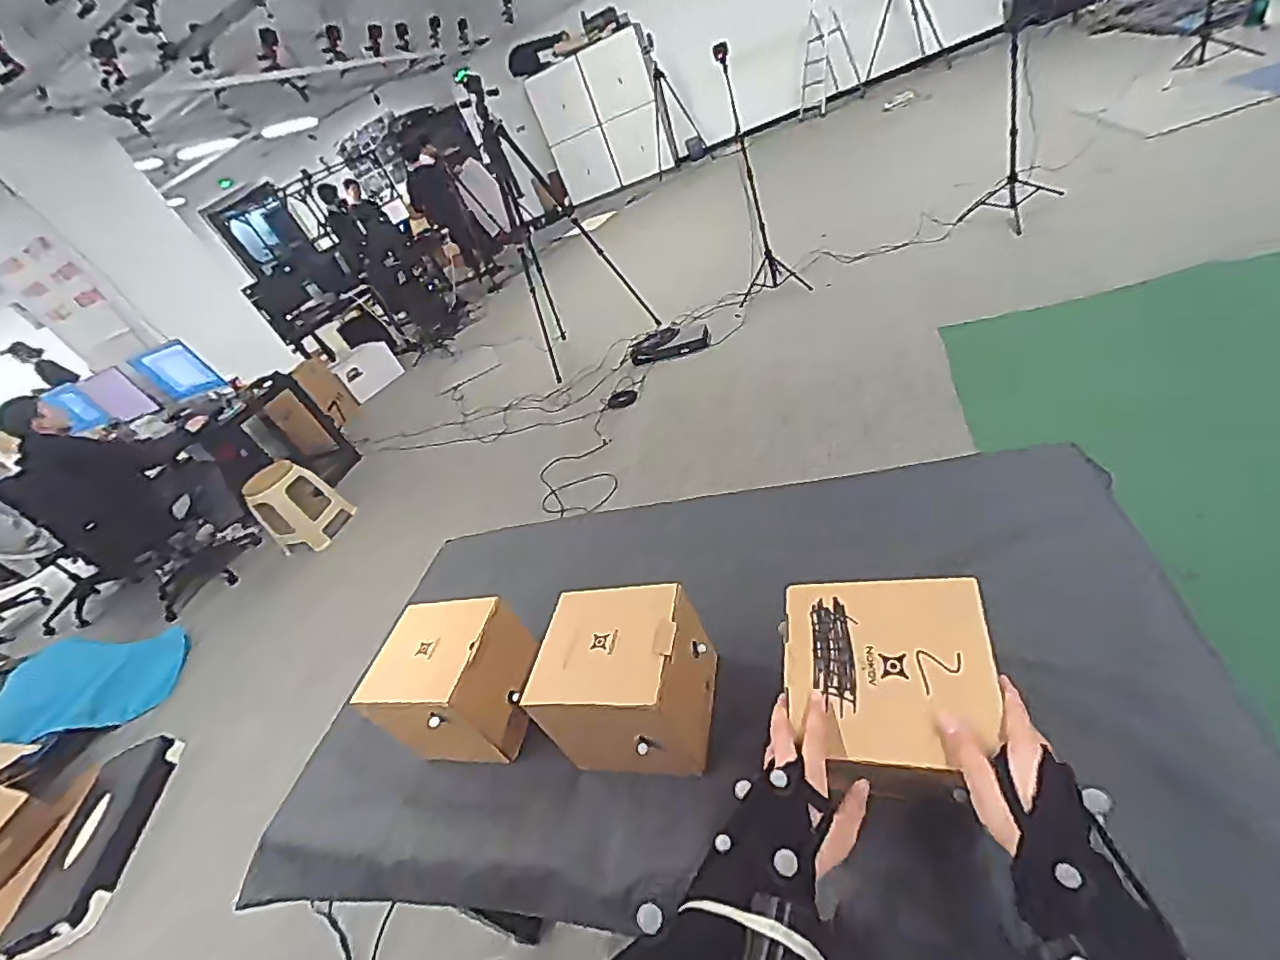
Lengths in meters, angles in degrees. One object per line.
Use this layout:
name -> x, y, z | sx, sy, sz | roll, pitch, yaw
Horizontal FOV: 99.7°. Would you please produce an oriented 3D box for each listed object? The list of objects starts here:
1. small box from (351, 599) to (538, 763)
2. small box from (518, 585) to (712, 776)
small box -> -0.272, 0.300, 0.805 | 0.179, 0.176, 0.168 | -10, 37, 21
small box -> -0.018, 0.258, 0.693 | 0.179, 0.176, 0.168 | -11, 35, 23
